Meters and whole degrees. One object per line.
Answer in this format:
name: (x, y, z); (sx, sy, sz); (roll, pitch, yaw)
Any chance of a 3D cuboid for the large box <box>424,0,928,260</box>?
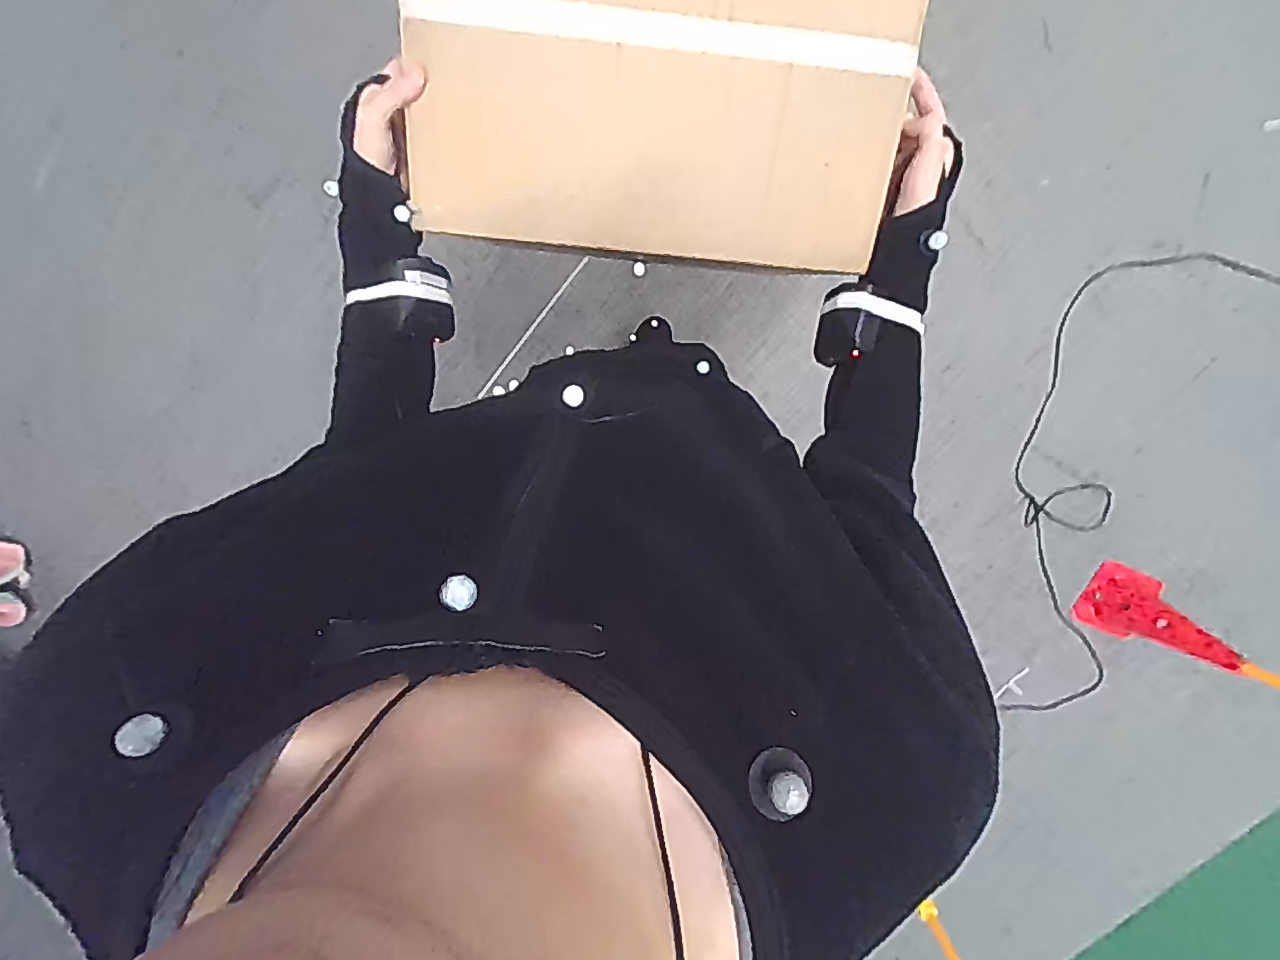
large box: (0.027, -0.413, 0.571); (0.408, 0.320, 0.320); (5, 110, -2)
